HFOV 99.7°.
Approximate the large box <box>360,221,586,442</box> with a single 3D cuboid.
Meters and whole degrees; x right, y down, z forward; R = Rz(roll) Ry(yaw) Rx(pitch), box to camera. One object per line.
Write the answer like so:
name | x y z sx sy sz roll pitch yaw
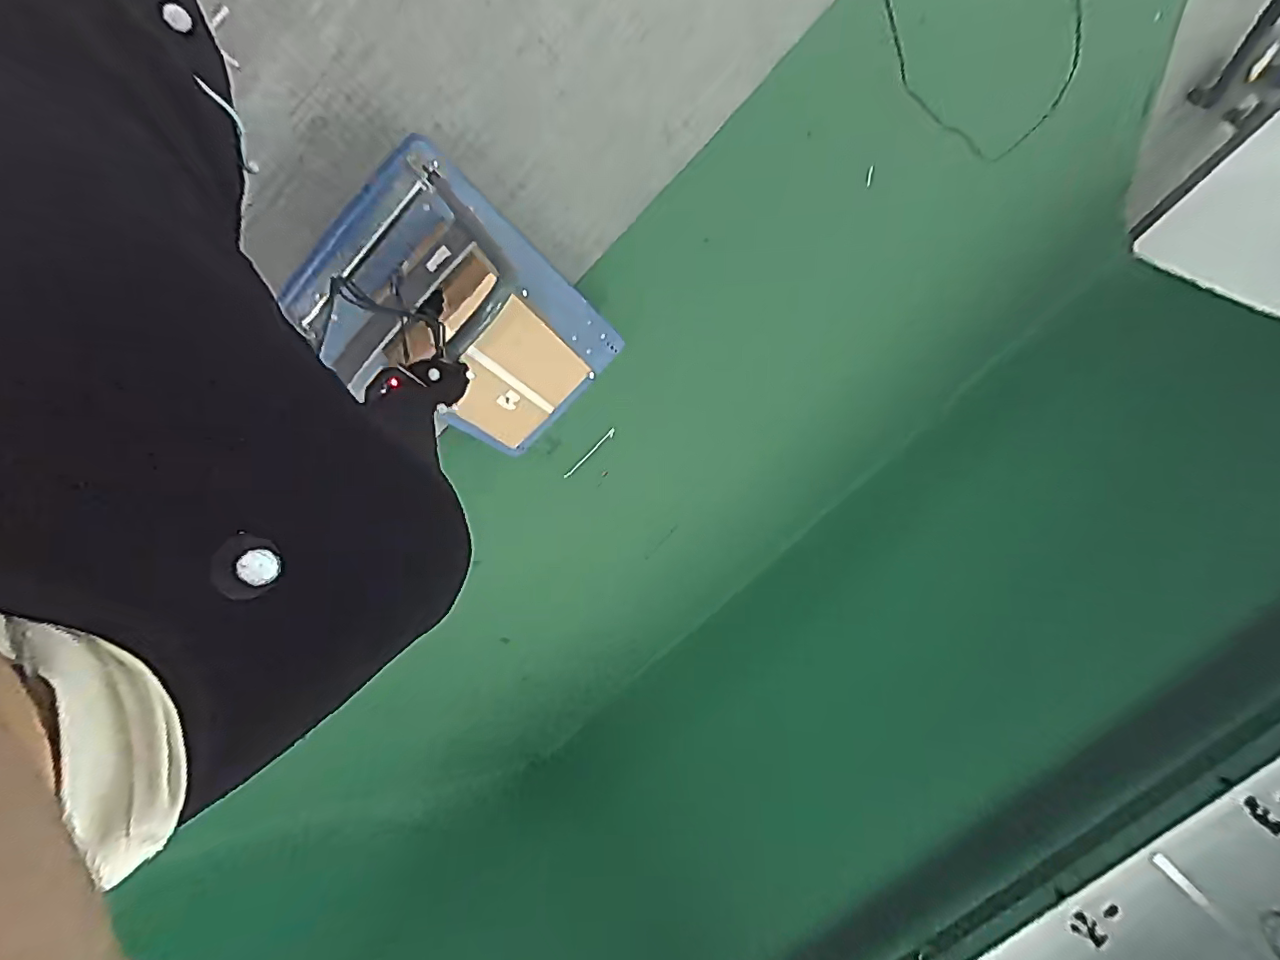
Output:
large box | -0.423 -0.368 1.395 0.320 0.320 0.408 -43 146 7
